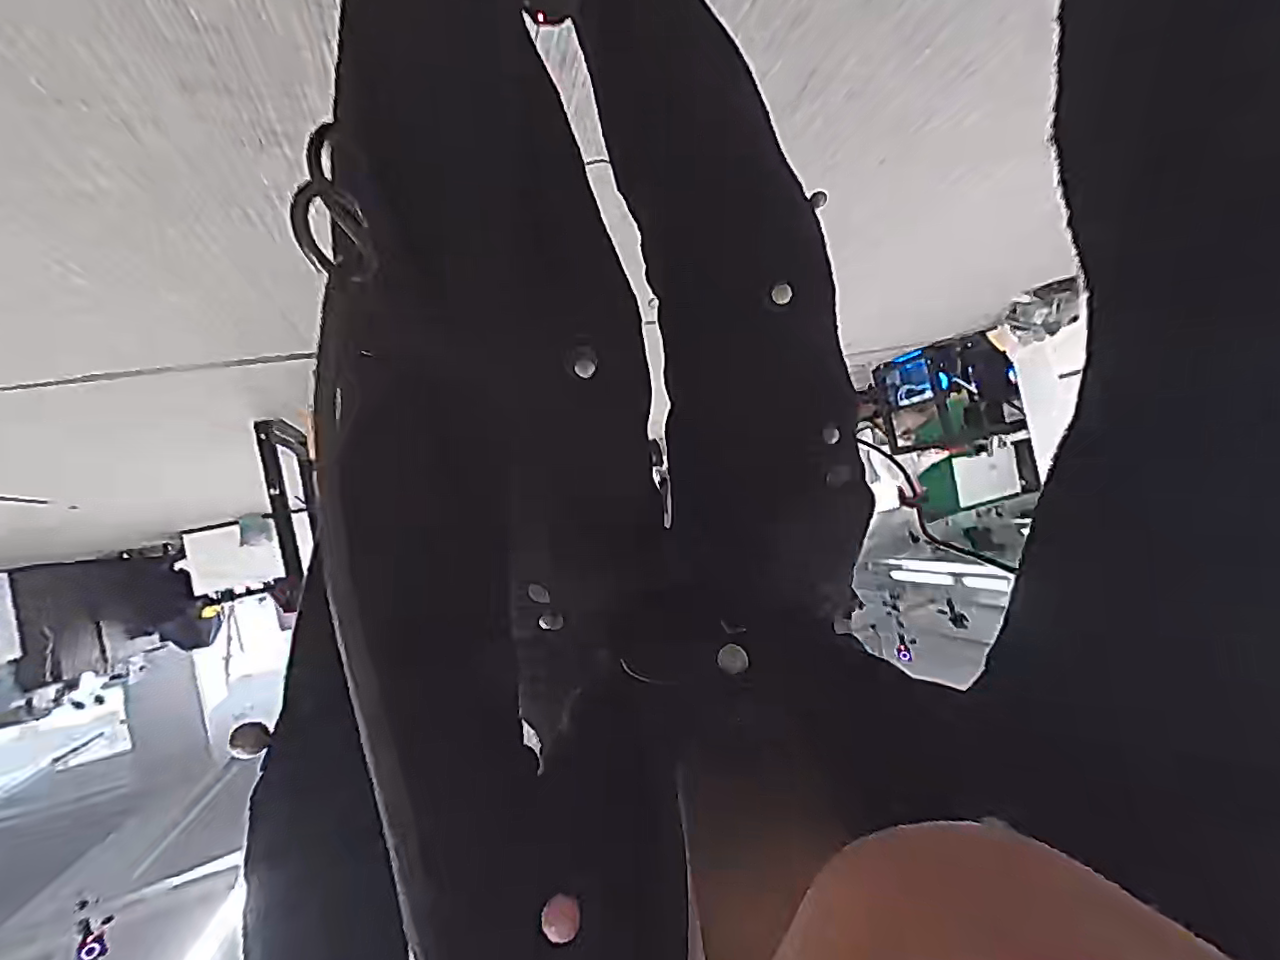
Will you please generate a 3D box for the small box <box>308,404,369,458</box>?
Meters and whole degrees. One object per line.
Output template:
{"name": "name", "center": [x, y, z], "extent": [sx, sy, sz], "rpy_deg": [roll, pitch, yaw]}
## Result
{"name": "small box", "center": [-1.187, -0.194, 2.121], "extent": [0.179, 0.176, 0.168], "rpy_deg": [-13, 178, -37]}
